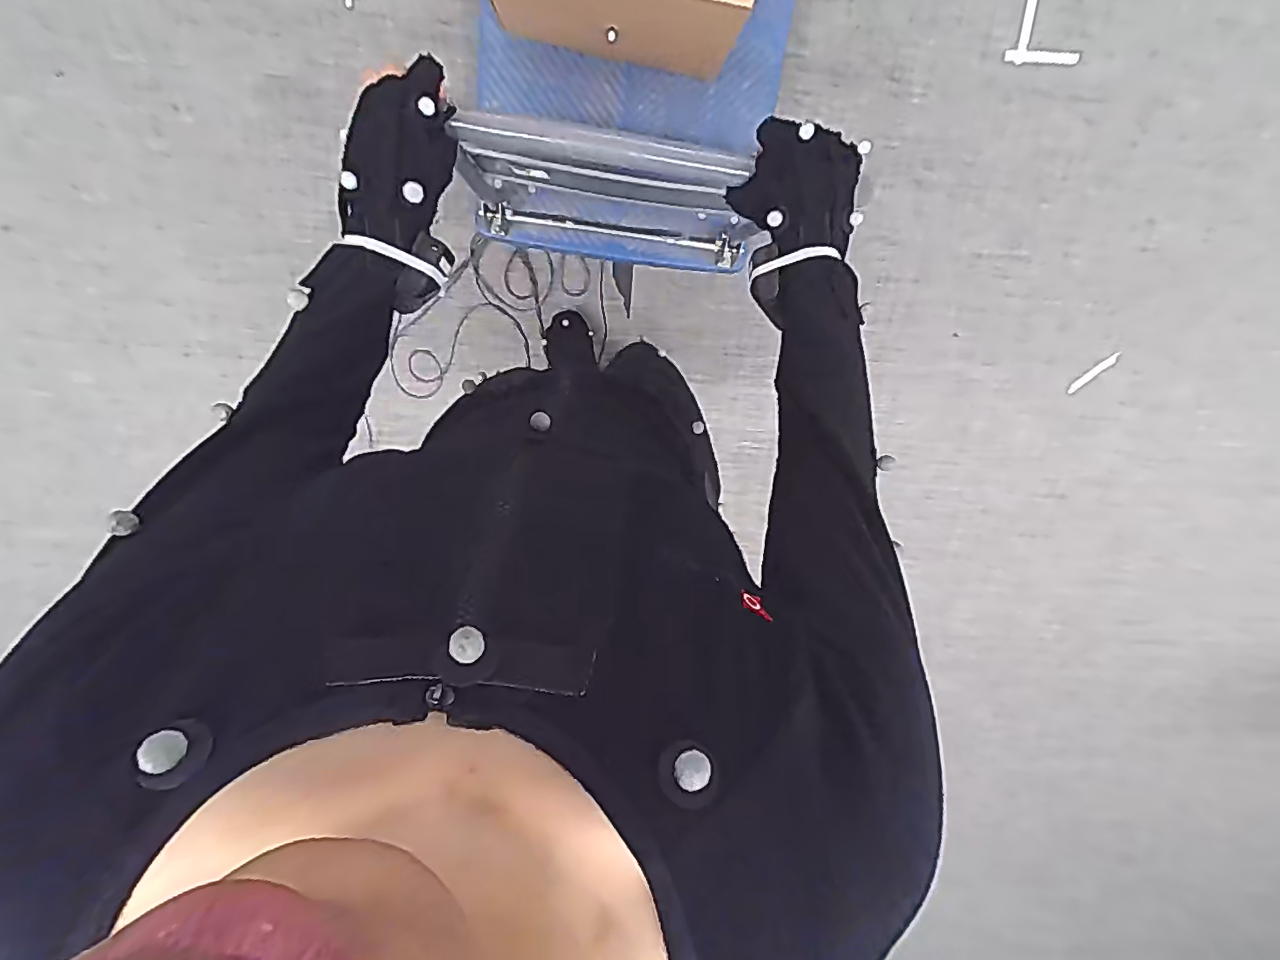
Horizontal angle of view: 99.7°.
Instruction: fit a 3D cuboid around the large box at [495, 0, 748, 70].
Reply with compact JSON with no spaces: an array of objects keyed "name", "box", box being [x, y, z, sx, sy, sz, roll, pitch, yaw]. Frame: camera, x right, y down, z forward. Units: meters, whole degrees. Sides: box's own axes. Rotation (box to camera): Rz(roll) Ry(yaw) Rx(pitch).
[{"name":"large box","box":[-0.023,-0.901,0.847,0.408,0.320,0.320,7,110,-5]}]
